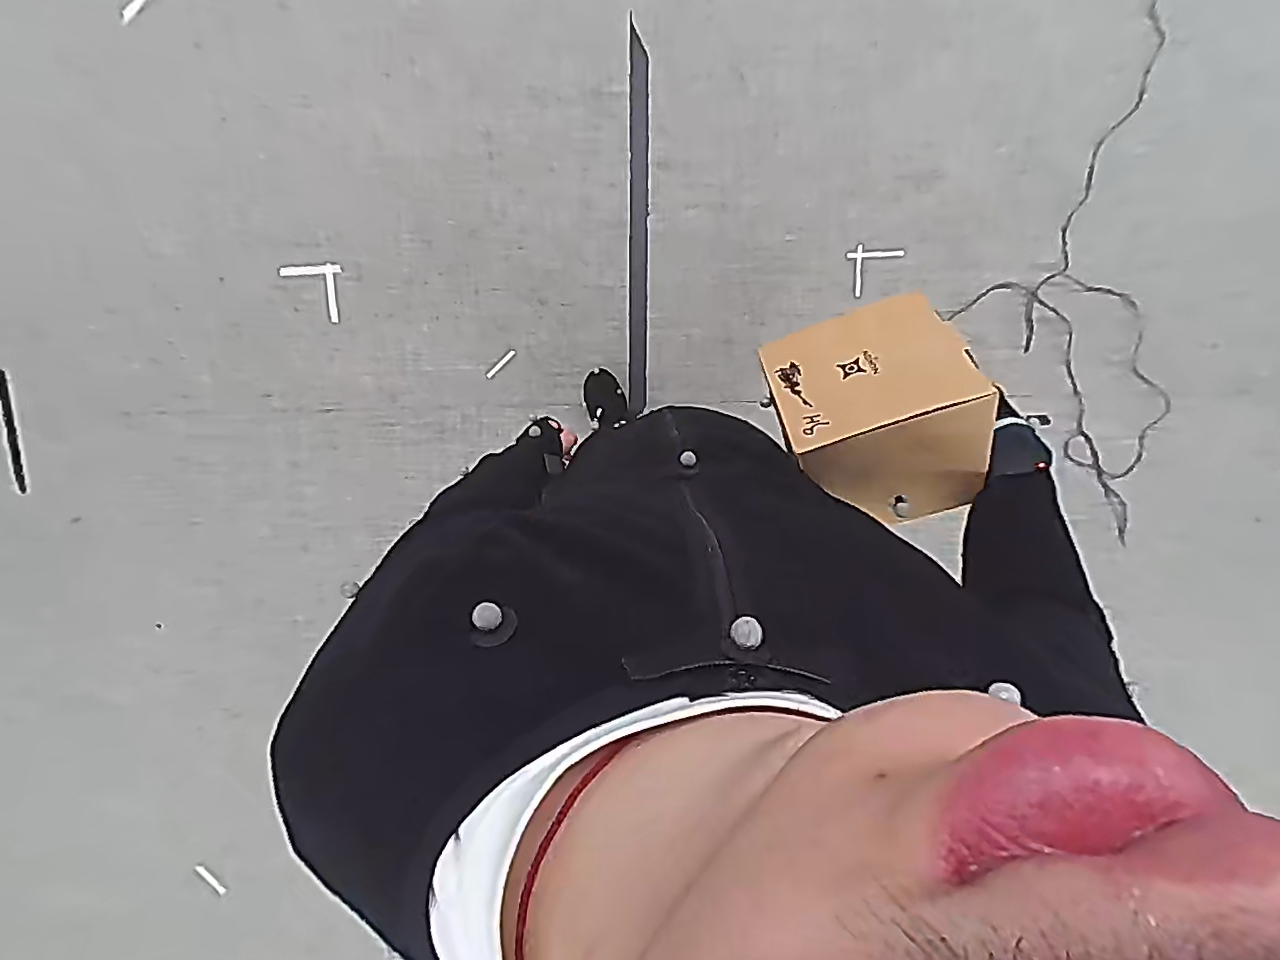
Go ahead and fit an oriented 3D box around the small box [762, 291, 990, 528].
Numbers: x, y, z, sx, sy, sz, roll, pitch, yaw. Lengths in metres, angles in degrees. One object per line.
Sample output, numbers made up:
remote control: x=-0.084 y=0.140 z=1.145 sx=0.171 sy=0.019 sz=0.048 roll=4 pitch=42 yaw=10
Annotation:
small box: x=0.252 y=-0.071 z=0.603 sx=0.179 sy=0.168 sz=0.176 roll=-17 pitch=138 yaw=14
